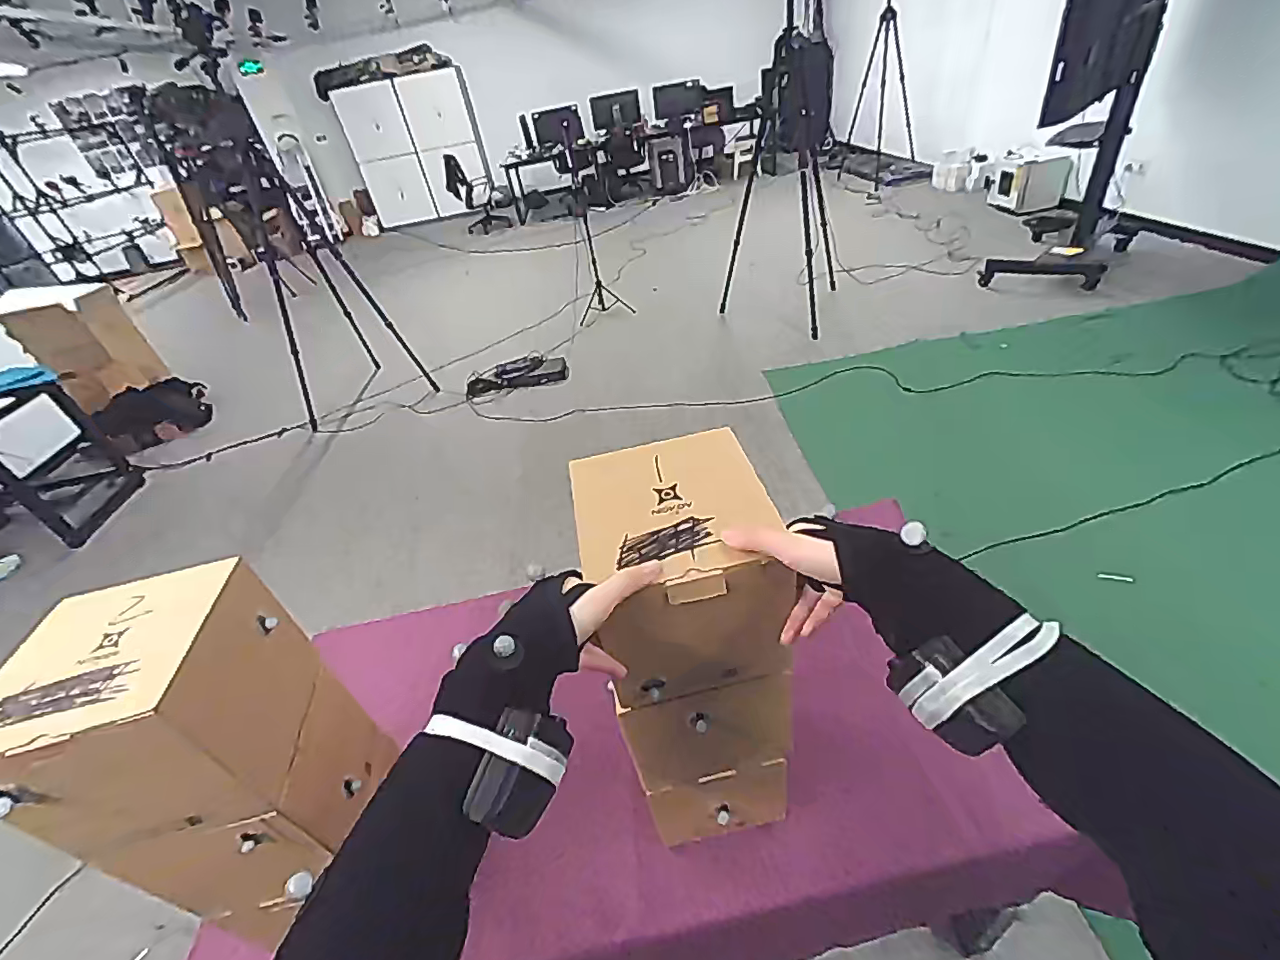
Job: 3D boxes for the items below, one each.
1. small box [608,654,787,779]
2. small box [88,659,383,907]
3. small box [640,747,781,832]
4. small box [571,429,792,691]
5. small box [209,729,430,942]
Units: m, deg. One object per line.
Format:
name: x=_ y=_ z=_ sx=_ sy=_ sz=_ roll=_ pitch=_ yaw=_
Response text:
small box: x=0.061 y=0.217 z=0.627 sx=0.179 sy=0.176 sz=0.168 roll=-13 pitch=38 yaw=-2
small box: x=-0.419 y=0.337 z=0.603 sx=0.179 sy=0.176 sz=0.168 roll=-13 pitch=38 yaw=-5
small box: x=0.085 y=0.345 z=0.729 sx=0.168 sy=0.176 sz=0.179 roll=-12 pitch=38 yaw=-2
small box: x=0.036 y=0.080 z=0.519 sx=0.168 sy=0.176 sz=0.179 roll=-12 pitch=39 yaw=-3
small box: x=-0.390 y=0.463 z=0.701 sx=0.168 sy=0.176 sz=0.179 roll=-13 pitch=37 yaw=-3
